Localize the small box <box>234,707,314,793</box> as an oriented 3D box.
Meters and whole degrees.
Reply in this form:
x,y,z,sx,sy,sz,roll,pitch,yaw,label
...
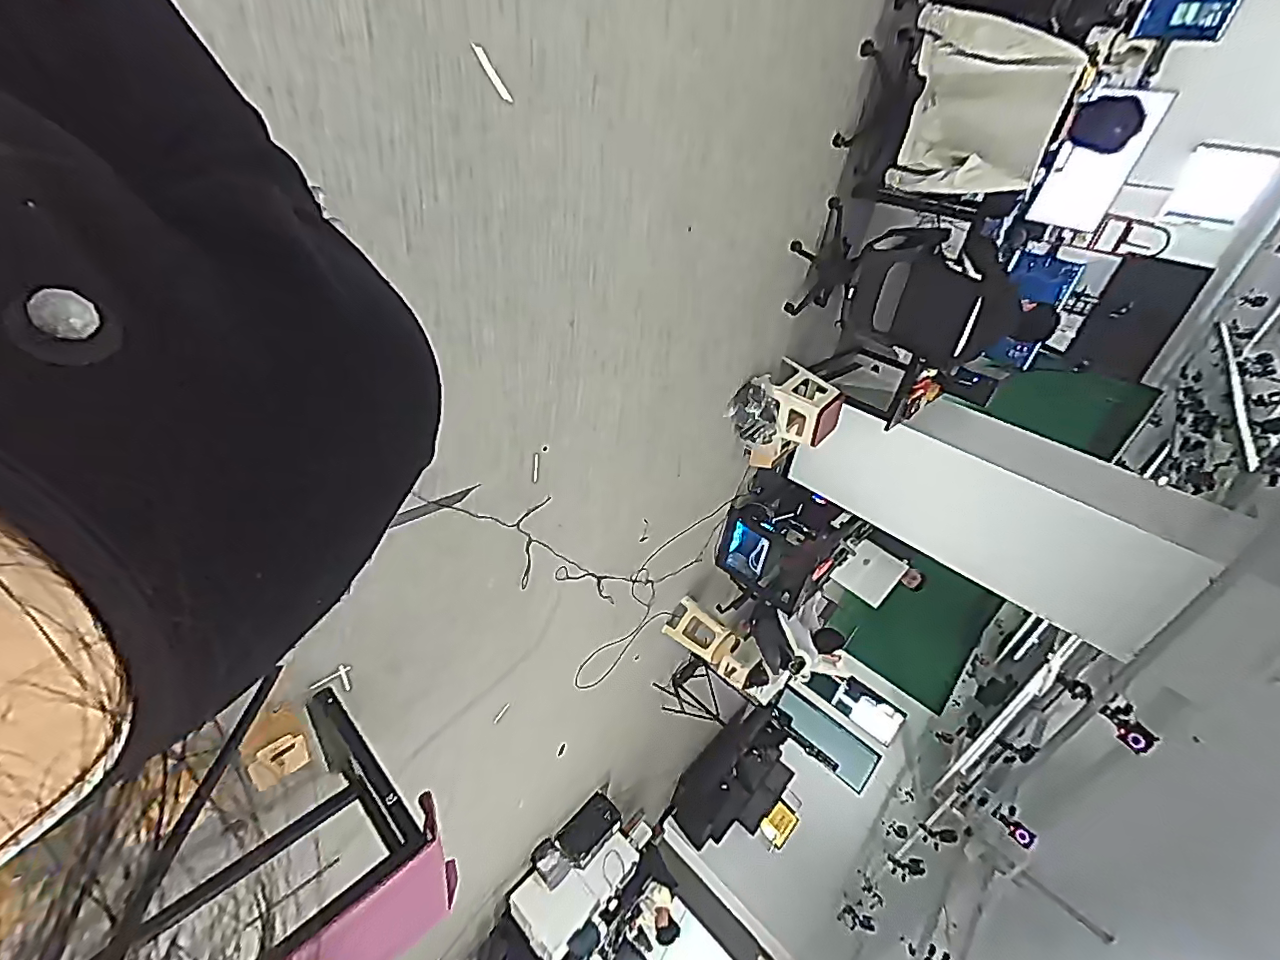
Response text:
x,y,z,sx,sy,sz,roll,pitch,yaw,label
-1.244,0.904,1.835,0.168,0.176,0.179,-25,138,-42,small box

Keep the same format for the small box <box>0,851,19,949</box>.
x,y,z,sx,sy,sz,roll,pitch,yaw,label
-1.704,1.094,1.354,0.179,0.176,0.168,-8,124,-53,small box
